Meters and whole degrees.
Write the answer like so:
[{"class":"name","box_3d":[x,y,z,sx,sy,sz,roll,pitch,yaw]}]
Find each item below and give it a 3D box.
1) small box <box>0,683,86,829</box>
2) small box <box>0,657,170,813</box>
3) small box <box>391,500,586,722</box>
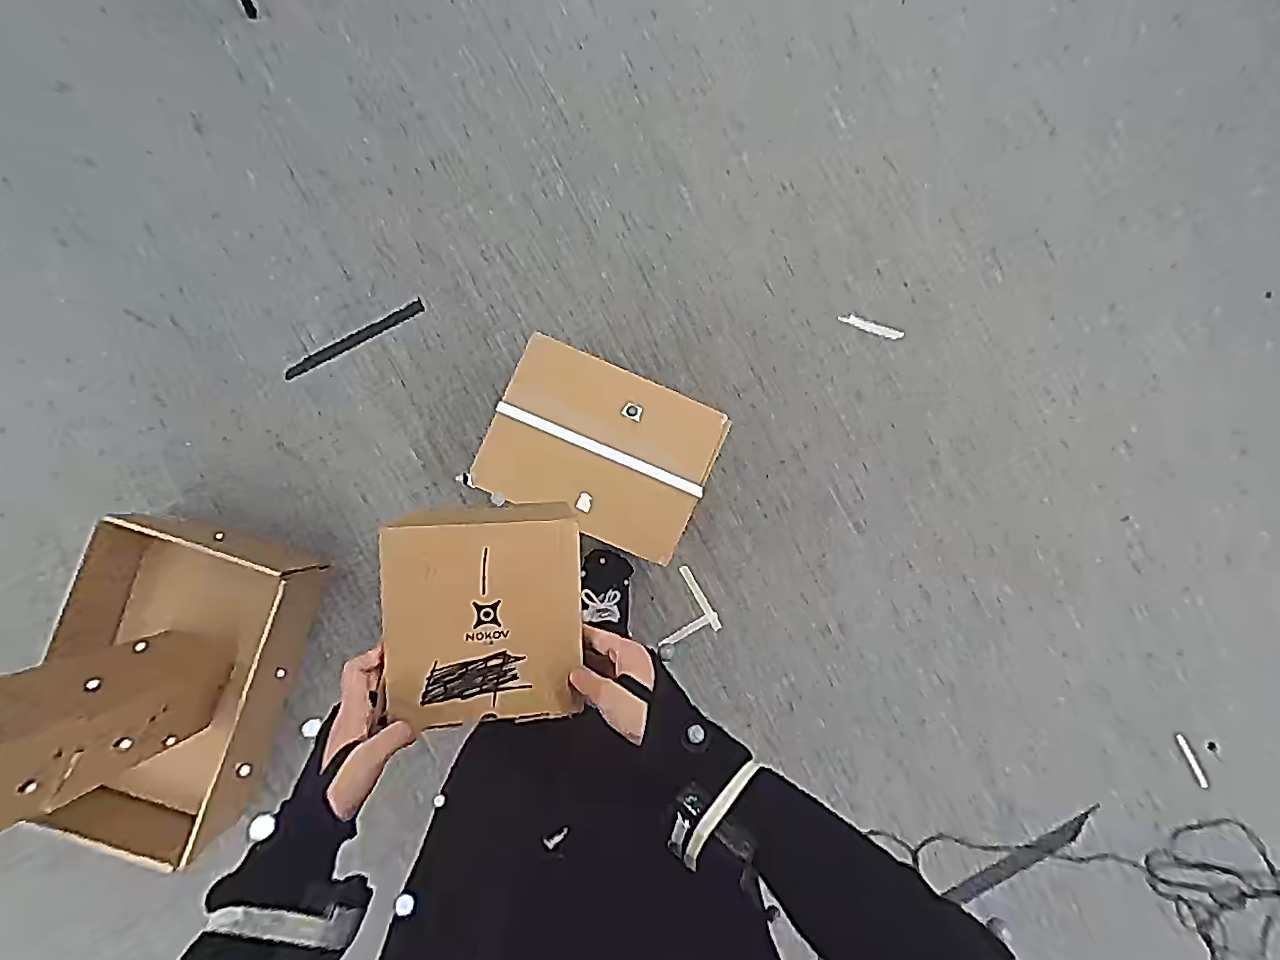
[{"class":"small box","box_3d":[-1.001,0.420,0.792,0.179,0.176,0.168,22,86,-1]},{"class":"small box","box_3d":[-1.001,0.436,0.955,0.179,0.176,0.168,23,86,-1]},{"class":"small box","box_3d":[-0.143,0.115,0.546,0.168,0.176,0.179,-1,92,-12]}]
